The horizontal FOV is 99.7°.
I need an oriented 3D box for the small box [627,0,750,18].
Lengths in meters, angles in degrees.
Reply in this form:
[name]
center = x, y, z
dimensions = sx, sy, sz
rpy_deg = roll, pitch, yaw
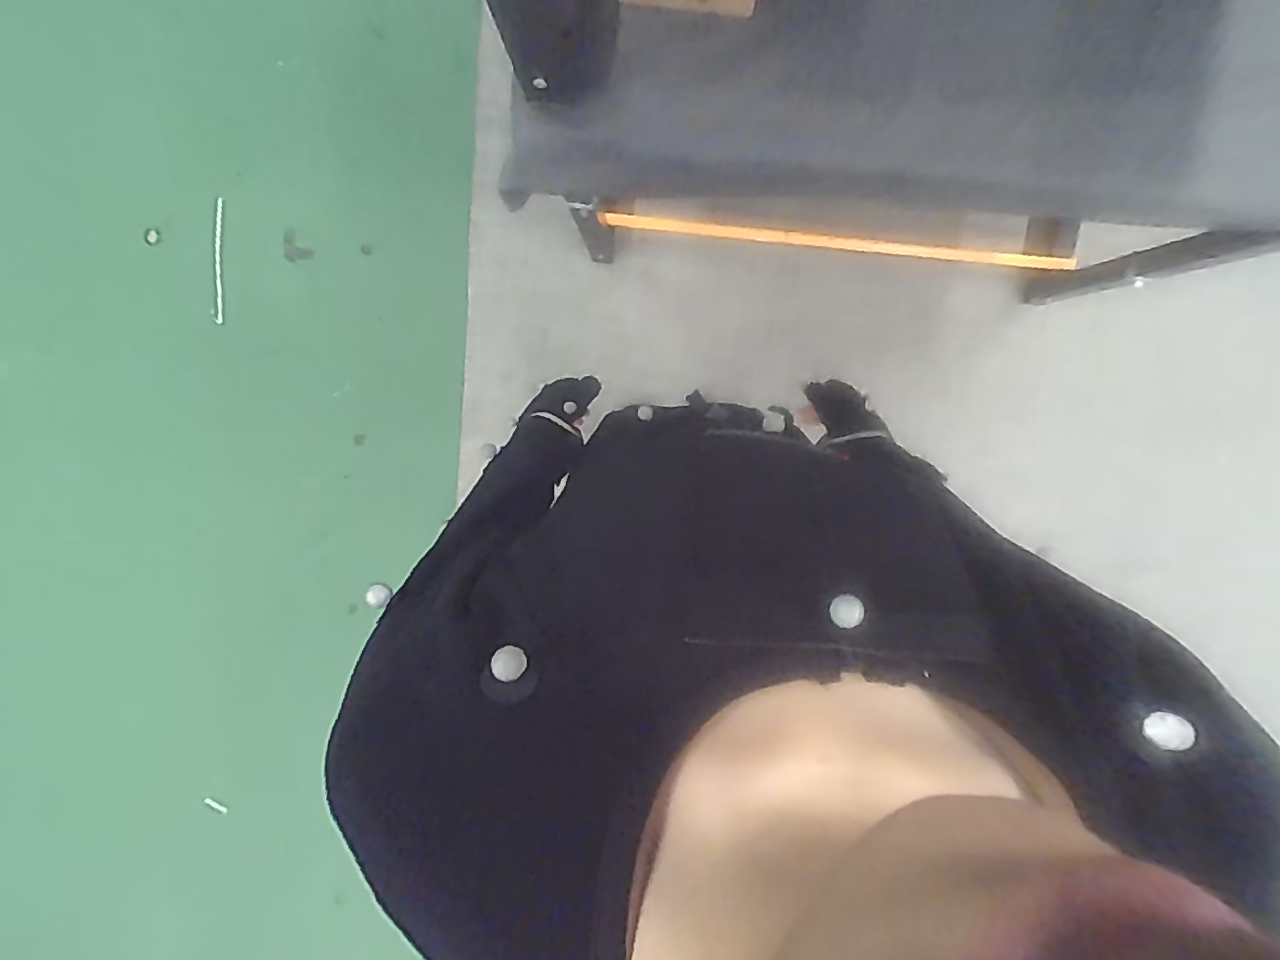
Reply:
[small box]
center = 0.059, -0.647, 0.568
dimensions = 0.168, 0.176, 0.179
rpy_deg = 5, 99, 0
